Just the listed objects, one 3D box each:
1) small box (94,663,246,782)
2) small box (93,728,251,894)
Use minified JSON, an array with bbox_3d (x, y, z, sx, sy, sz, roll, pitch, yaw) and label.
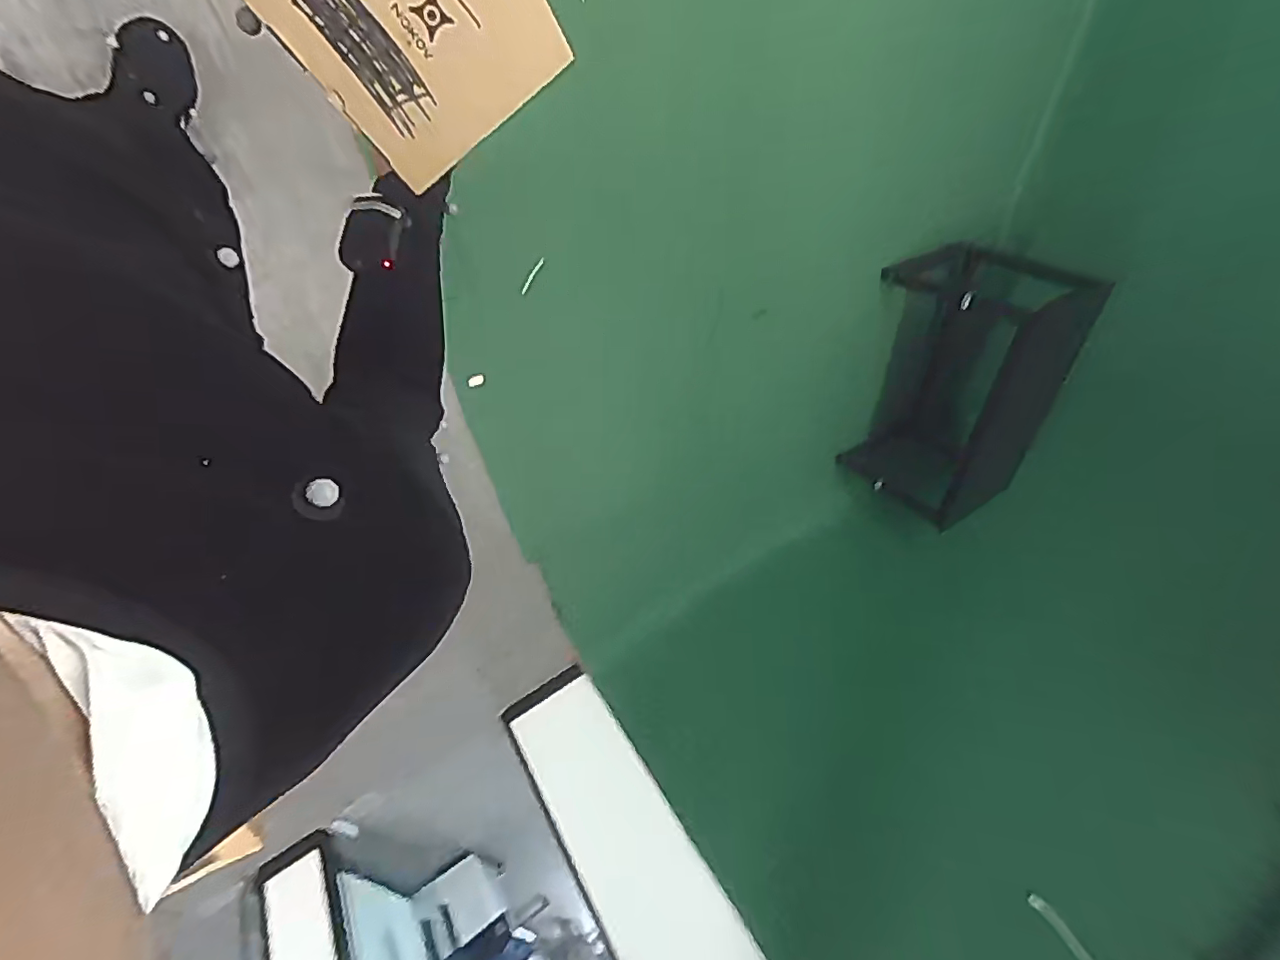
[{"bbox_3d":[-0.934,0.508,1.092,0.168,0.176,0.179,-27,135,-21],"label":"small box"},{"bbox_3d":[-0.840,0.596,0.989,0.168,0.176,0.179,-19,131,-28],"label":"small box"}]
